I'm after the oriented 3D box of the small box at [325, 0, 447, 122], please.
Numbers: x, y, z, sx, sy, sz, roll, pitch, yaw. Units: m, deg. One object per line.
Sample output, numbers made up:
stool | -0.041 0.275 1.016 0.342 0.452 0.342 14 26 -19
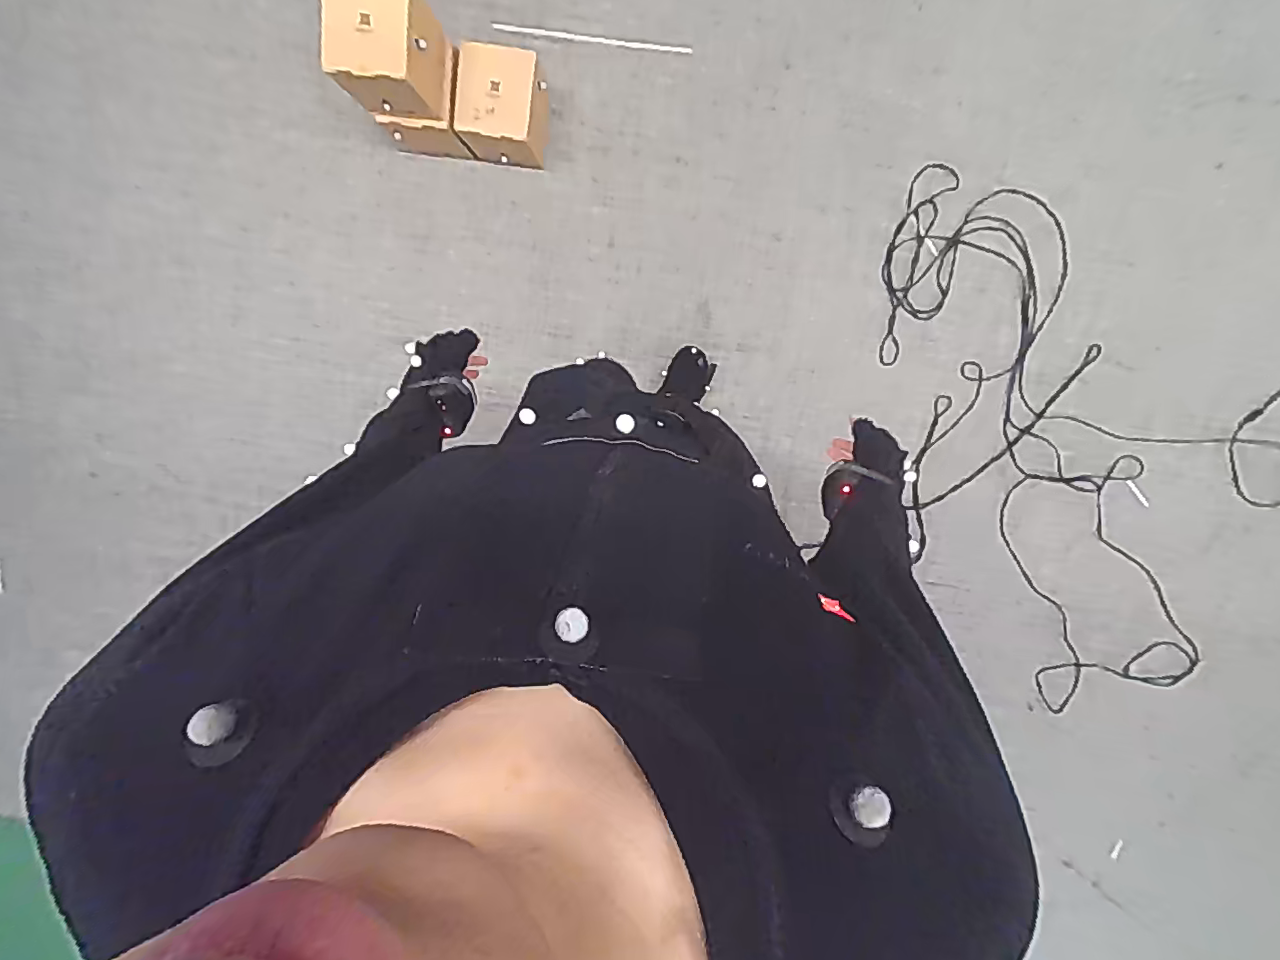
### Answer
small box | -0.497 -0.856 1.077 0.168 0.176 0.179 7 101 1
